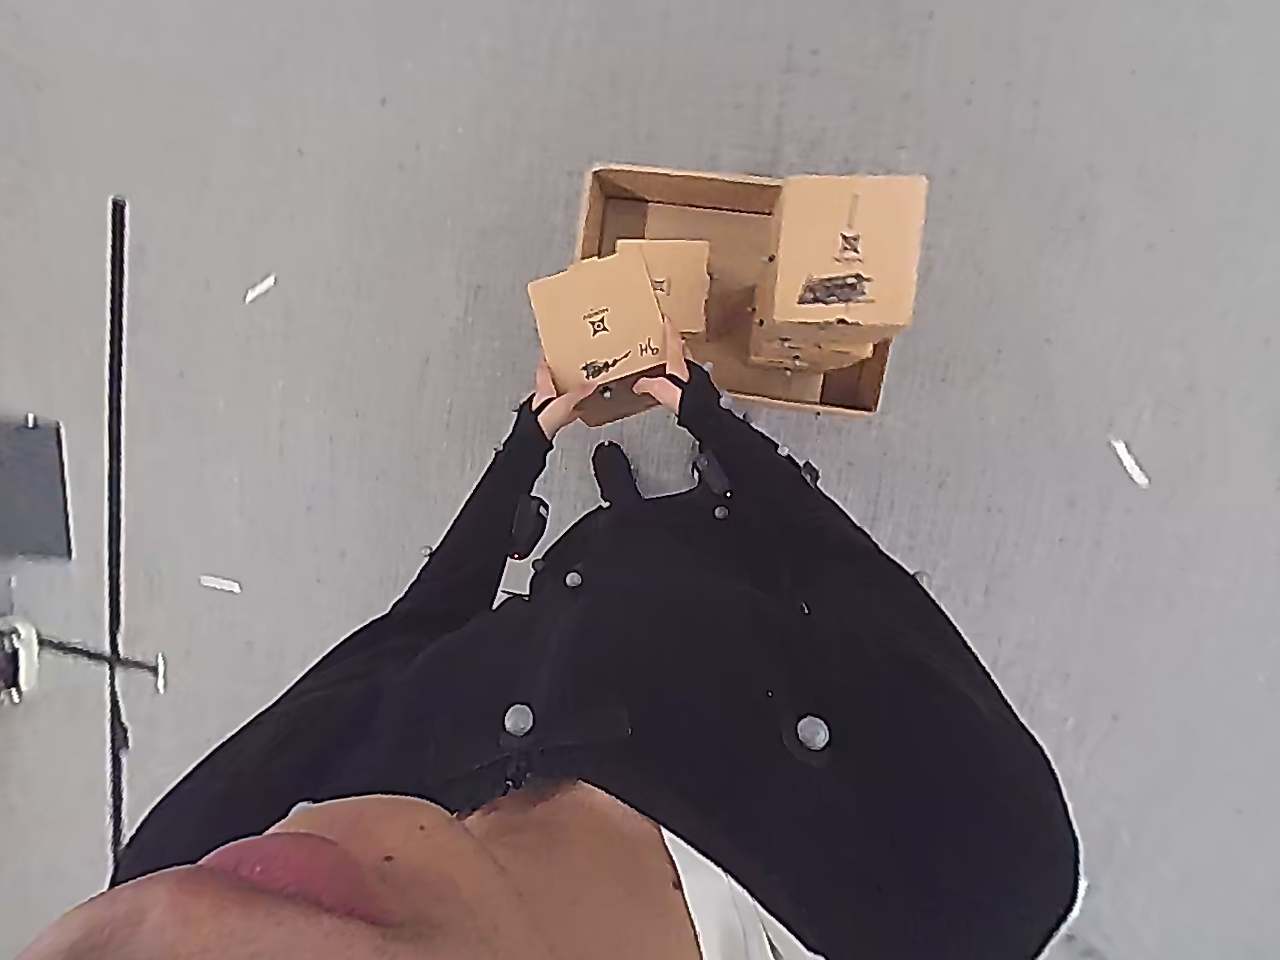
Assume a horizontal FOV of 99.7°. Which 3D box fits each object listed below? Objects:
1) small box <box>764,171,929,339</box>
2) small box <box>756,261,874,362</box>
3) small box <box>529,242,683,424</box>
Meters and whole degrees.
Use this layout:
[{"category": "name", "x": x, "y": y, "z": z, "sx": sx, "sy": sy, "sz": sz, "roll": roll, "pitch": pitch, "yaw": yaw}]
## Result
[{"category": "small box", "x": 0.262, "y": -0.290, "z": 0.729, "sx": 0.168, "sy": 0.176, "sz": 0.179, "roll": 4, "pitch": 98, "yaw": 7}, {"category": "small box", "x": 0.289, "y": -0.298, "z": 0.892, "sx": 0.168, "sy": 0.176, "sz": 0.179, "roll": 7, "pitch": 99, "yaw": 7}, {"category": "small box", "x": -0.042, "y": -0.203, "z": 0.793, "sx": 0.168, "sy": 0.176, "sz": 0.179, "roll": -17, "pitch": 79, "yaw": 7}]
